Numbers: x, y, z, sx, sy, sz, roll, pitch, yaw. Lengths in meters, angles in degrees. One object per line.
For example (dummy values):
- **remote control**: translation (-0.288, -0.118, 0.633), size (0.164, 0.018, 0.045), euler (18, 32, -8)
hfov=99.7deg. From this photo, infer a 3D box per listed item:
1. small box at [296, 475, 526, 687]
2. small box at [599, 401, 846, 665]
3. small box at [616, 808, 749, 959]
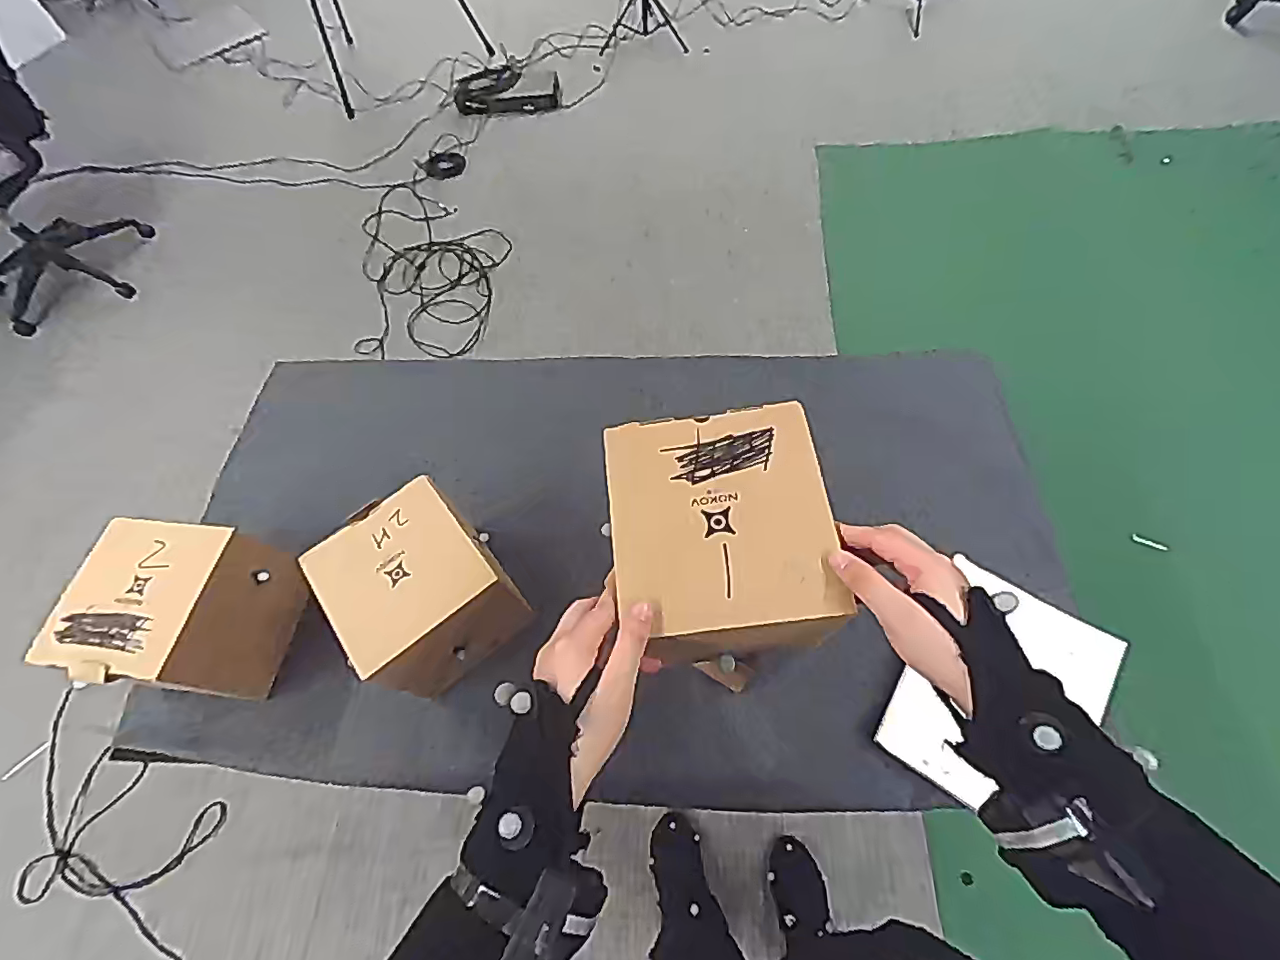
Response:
- **small box**: translation (-0.265, 0.132, 0.662), size (0.168, 0.176, 0.179), euler (-37, 65, -14)
- **small box**: translation (0.061, 0.056, 0.479), size (0.168, 0.176, 0.179), euler (-8, 65, 4)
- **small box**: translation (0.091, 0.801, 1.084), size (0.176, 0.168, 0.179), euler (51, 49, -2)
